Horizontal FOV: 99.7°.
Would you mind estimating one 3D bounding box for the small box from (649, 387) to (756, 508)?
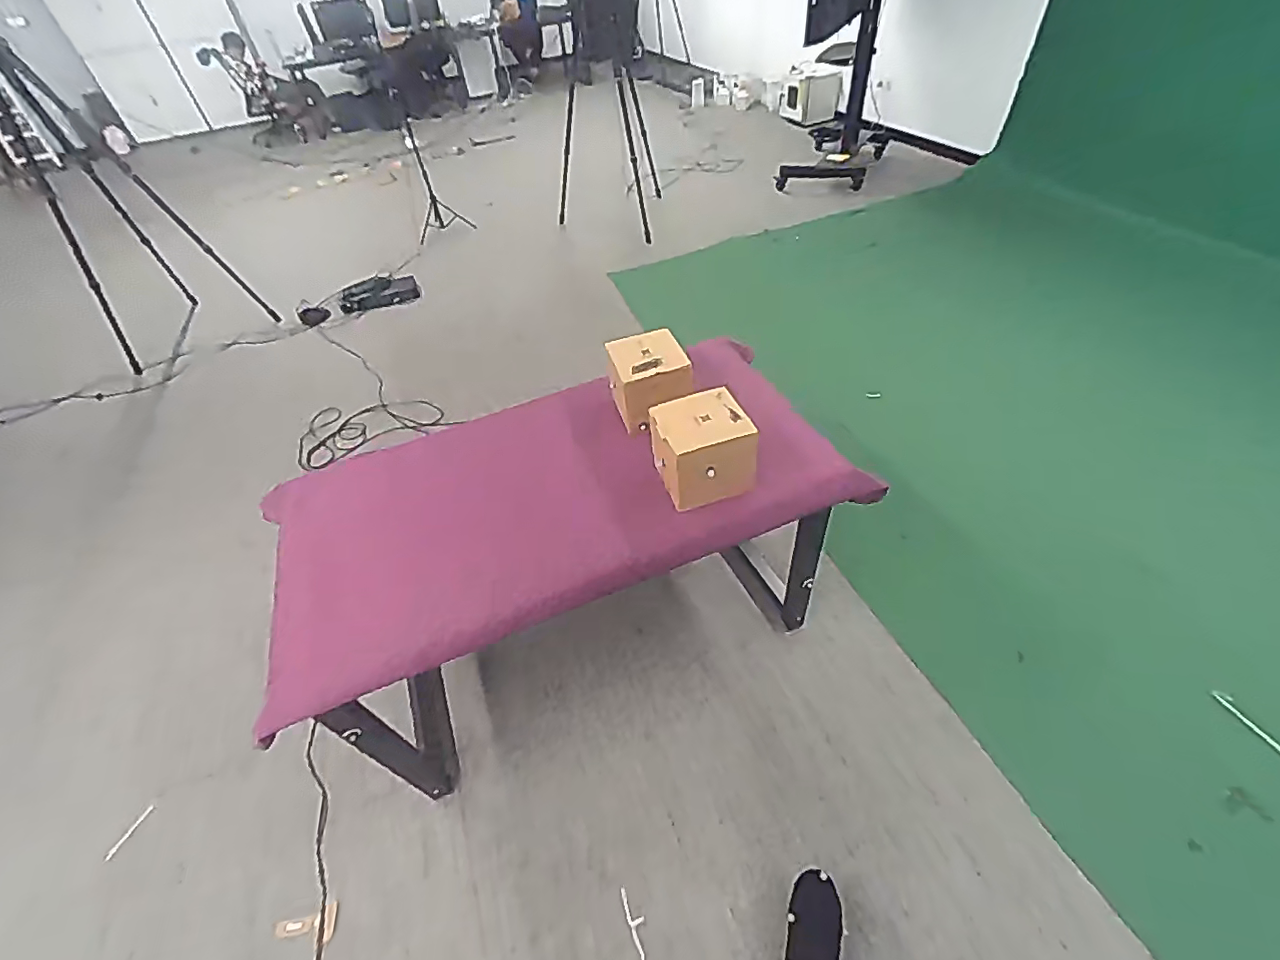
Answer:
[{"bbox_3d":[0.133,-0.065,1.142,0.179,0.176,0.168,-17,46,-7],"label":"small box"}]

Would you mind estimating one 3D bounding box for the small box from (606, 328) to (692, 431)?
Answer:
[{"bbox_3d":[0.025,-0.239,1.321,0.168,0.176,0.179,-16,47,-7],"label":"small box"}]
